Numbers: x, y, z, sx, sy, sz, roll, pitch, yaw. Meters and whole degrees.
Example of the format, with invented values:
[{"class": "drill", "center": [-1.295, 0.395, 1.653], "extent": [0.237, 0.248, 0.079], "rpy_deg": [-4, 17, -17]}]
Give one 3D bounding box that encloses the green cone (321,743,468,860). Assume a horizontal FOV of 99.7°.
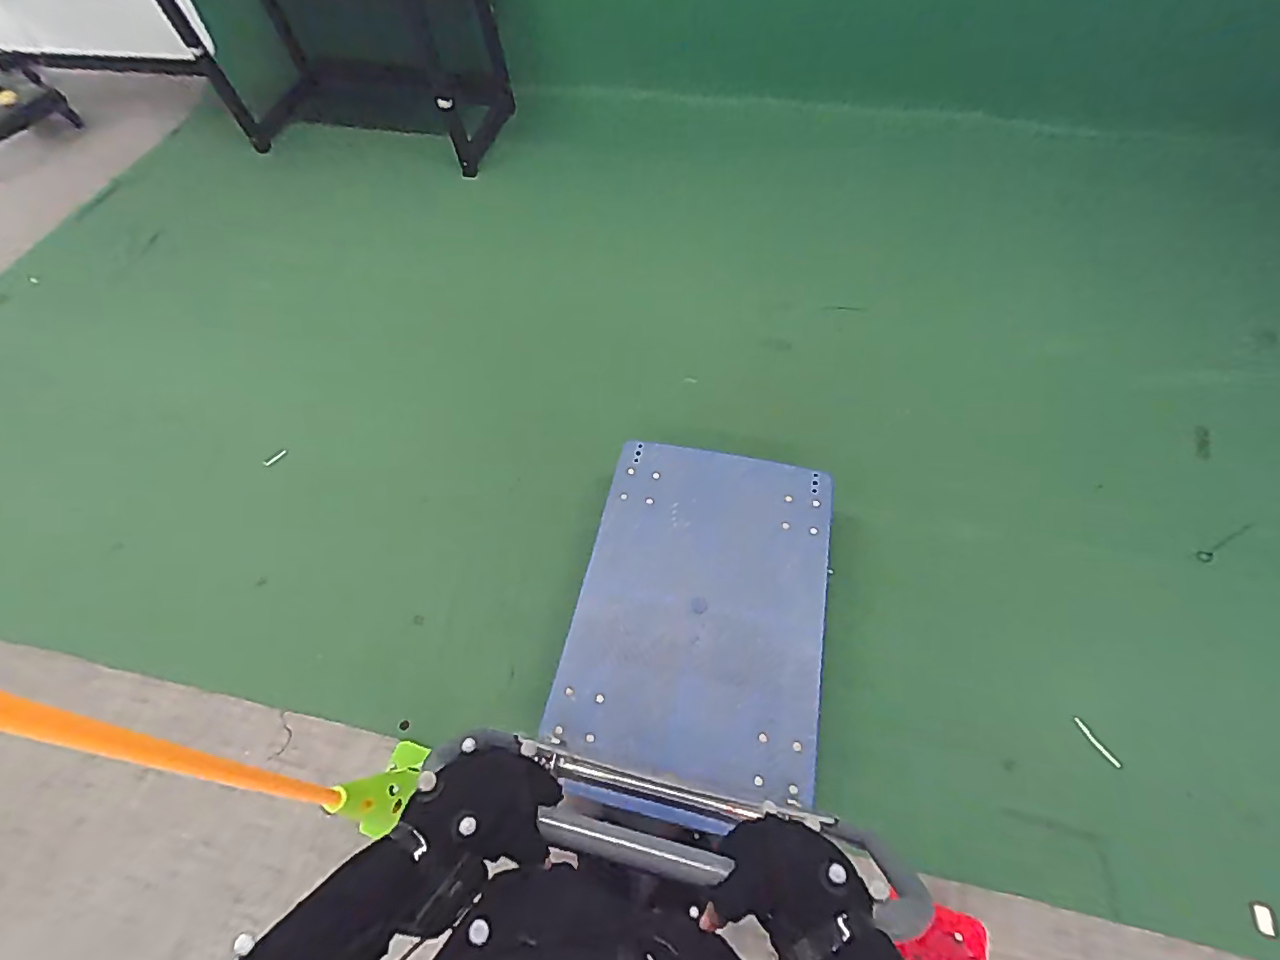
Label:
[{"class": "green cone", "center": [-0.532, 0.653, 1.113], "extent": [0.202, 0.368, 0.200], "rpy_deg": [13, 60, 12]}]
